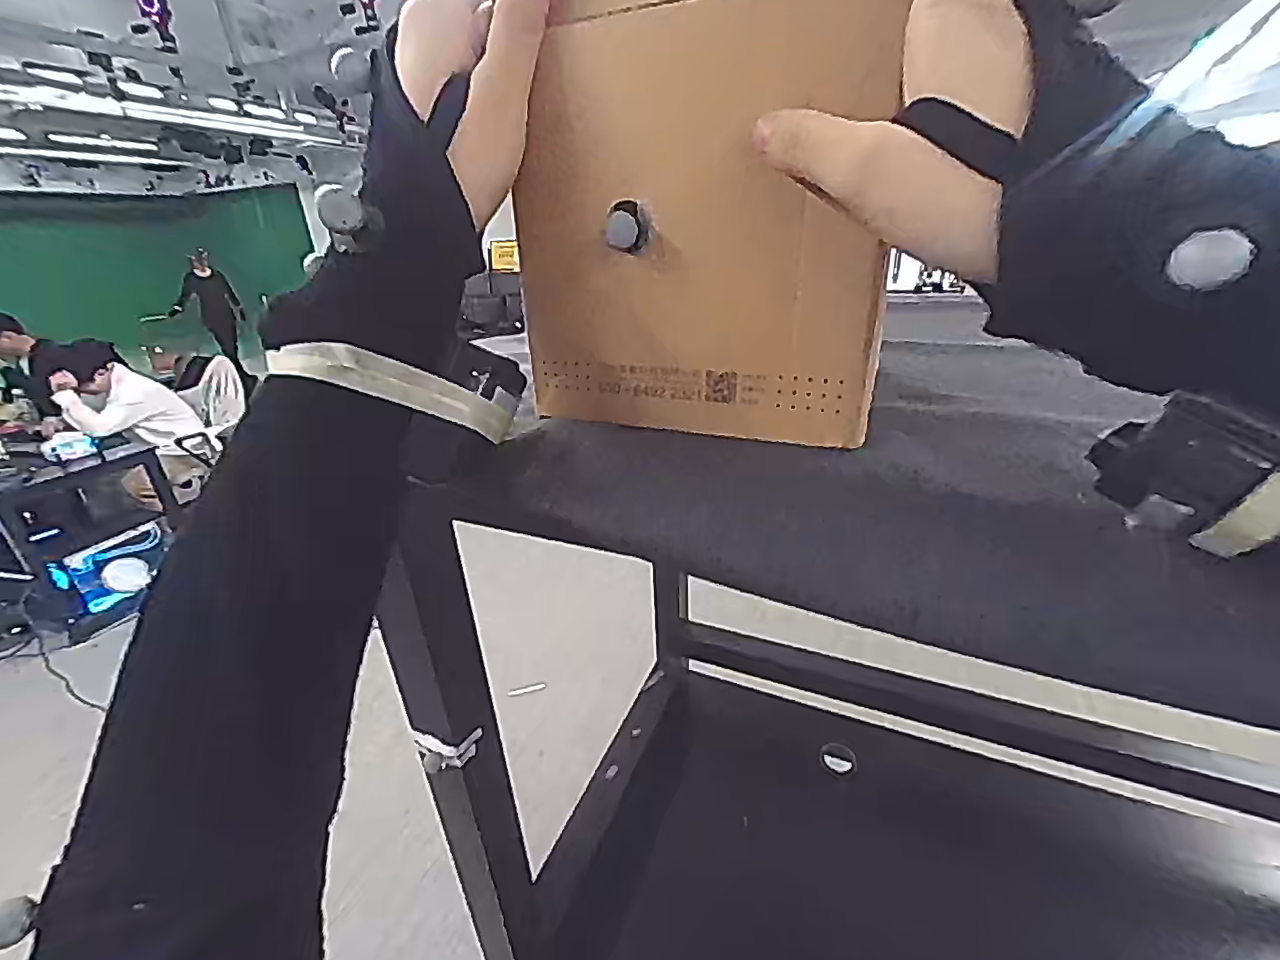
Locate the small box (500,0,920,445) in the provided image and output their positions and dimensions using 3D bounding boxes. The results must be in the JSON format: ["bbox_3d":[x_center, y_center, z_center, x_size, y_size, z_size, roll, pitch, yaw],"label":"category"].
[{"bbox_3d":[0.051,-0.126,0.299,0.168,0.176,0.179,8,25,22],"label":"small box"}]
